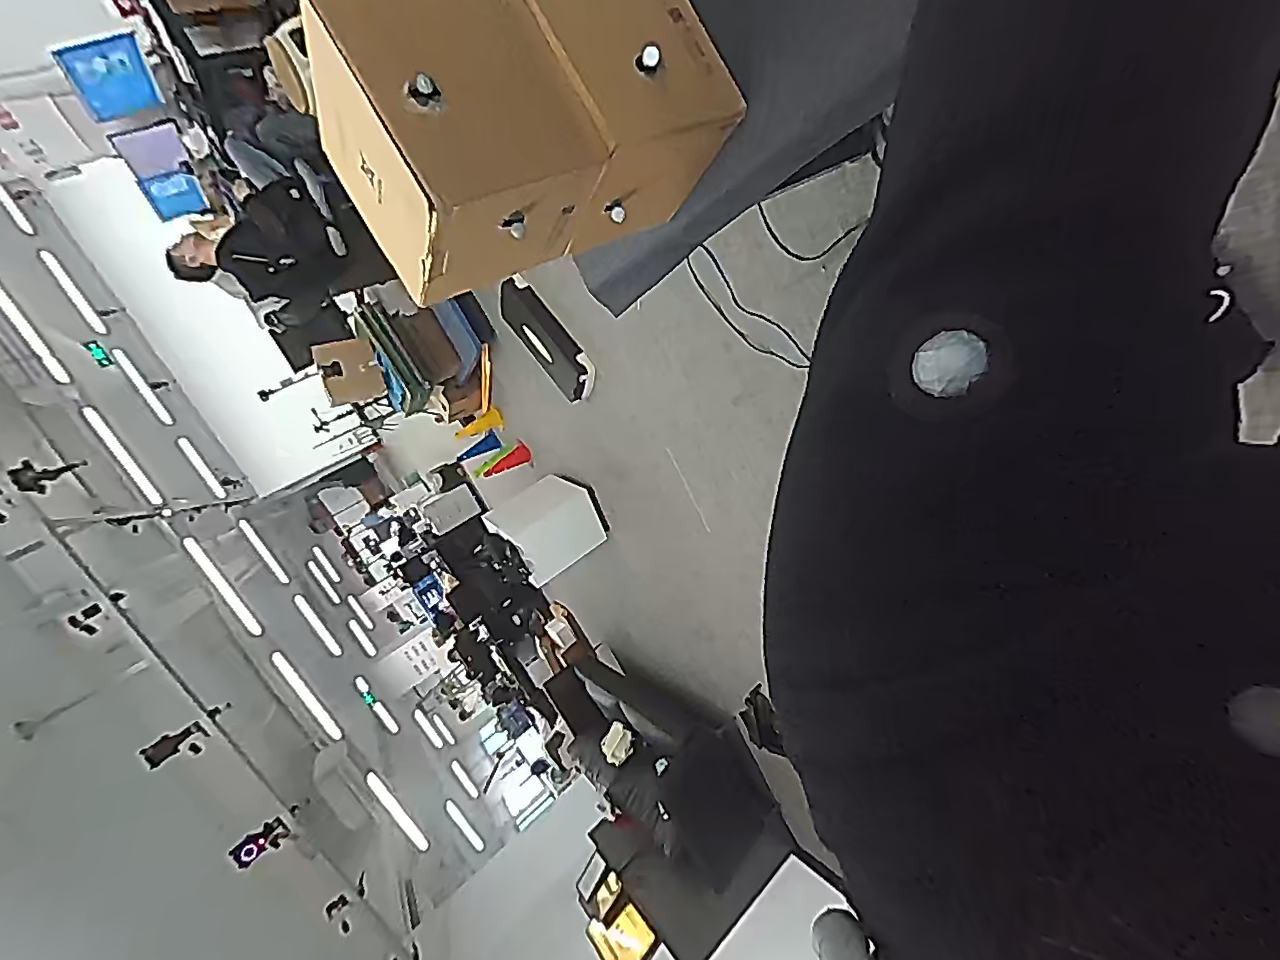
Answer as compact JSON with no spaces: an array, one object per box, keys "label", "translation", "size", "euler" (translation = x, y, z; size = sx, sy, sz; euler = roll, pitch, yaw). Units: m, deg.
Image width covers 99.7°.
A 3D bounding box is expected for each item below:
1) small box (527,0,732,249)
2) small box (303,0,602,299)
[{"label":"small box","translation":[-0.033,-0.378,0.548],"size":[0.168,0.176,0.179],"euler":[58,155,-4]},{"label":"small box","translation":[-0.160,-0.300,0.483],"size":[0.179,0.176,0.168],"euler":[60,154,-5]}]
